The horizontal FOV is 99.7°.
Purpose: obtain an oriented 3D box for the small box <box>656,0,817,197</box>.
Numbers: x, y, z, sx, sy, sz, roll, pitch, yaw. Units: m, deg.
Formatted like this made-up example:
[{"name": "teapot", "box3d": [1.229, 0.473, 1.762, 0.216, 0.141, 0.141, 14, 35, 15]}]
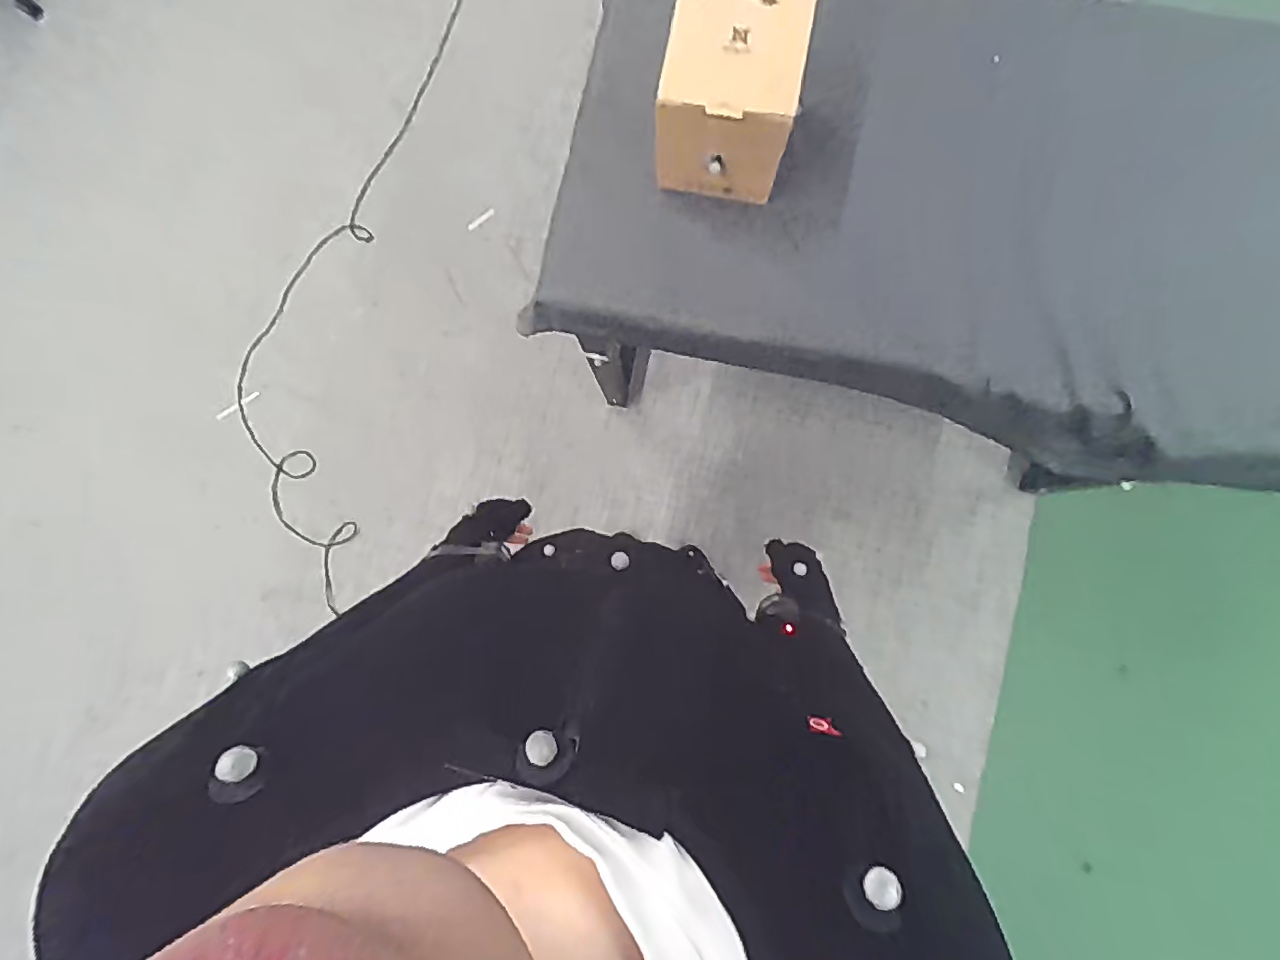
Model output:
[{"name": "small box", "box3d": [0.122, -0.514, 0.723, 0.168, 0.176, 0.179, 12, 86, 4]}]
